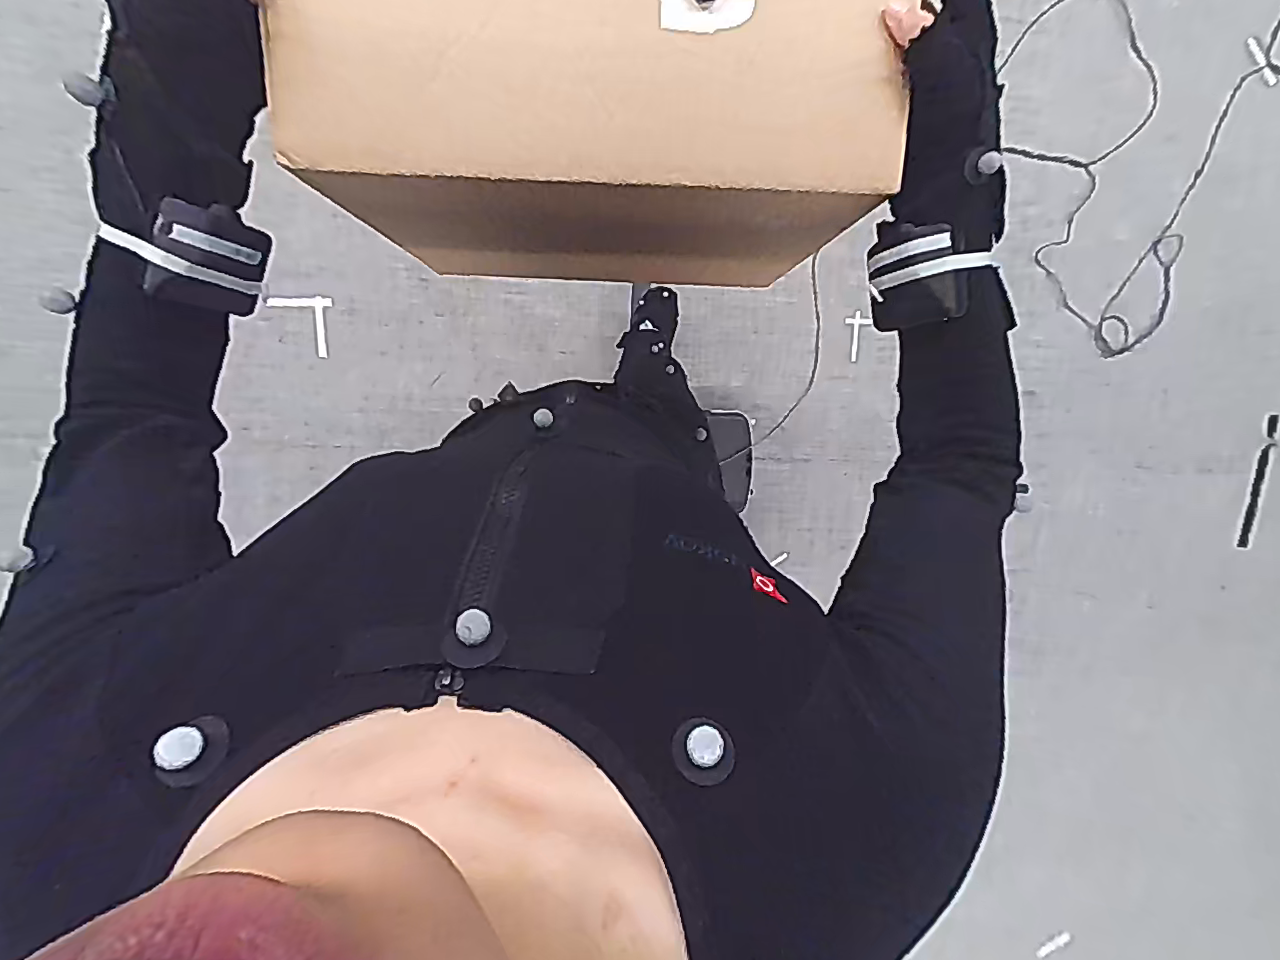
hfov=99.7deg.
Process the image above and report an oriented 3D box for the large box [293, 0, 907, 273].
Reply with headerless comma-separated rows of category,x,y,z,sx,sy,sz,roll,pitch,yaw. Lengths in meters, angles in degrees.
large box,-0.029,-0.381,0.489,0.408,0.320,0.320,0,99,-3
